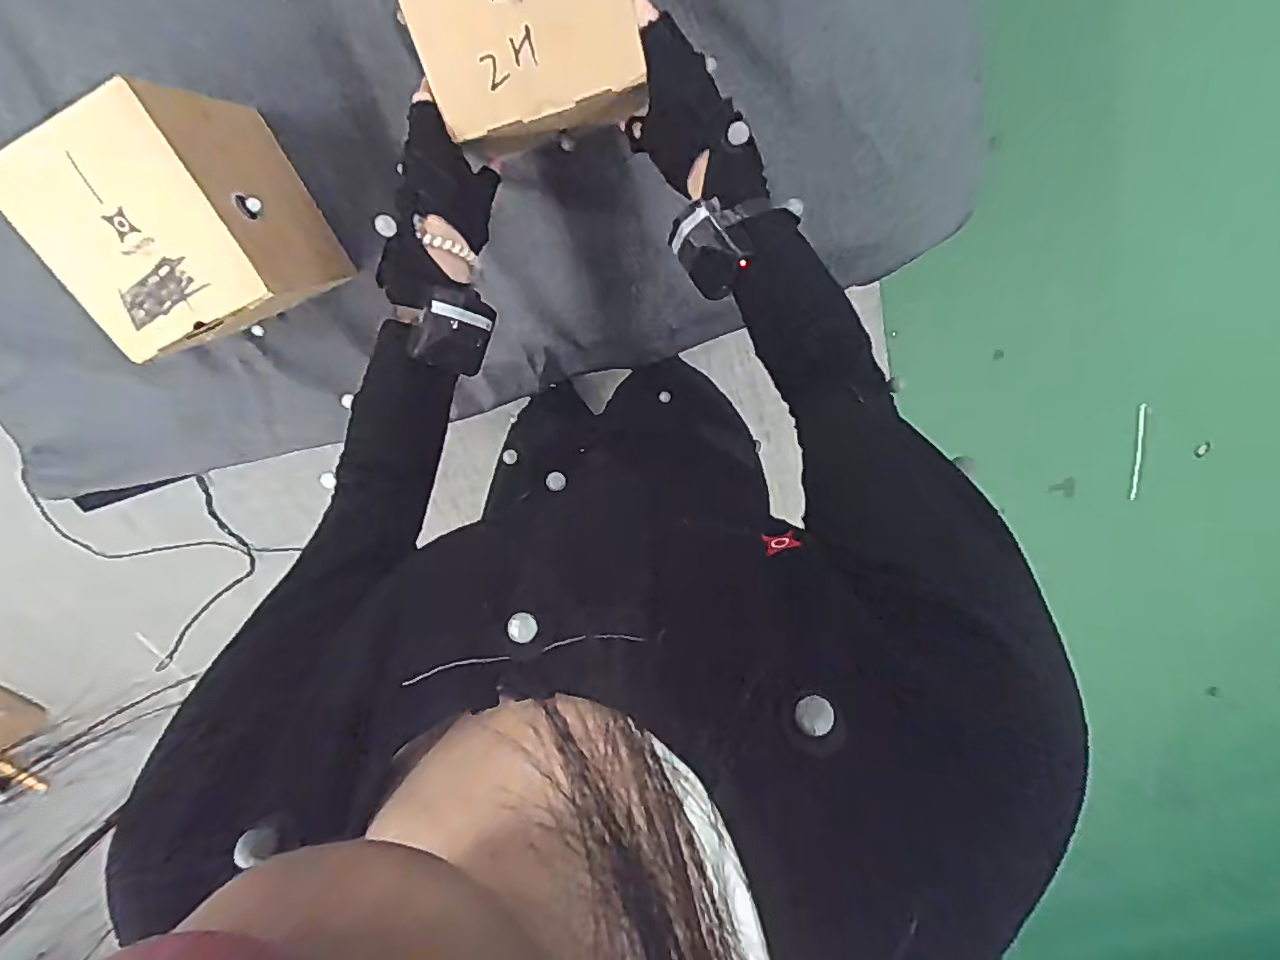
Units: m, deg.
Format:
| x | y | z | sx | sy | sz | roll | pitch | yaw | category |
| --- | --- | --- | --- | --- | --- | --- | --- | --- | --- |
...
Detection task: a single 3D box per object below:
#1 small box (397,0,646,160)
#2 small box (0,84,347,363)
| x | y | z | sx | sy | sz | roll | pitch | yaw | category |
| --- | --- | --- | --- | --- | --- | --- | --- | --- | --- |
| -0.096 | -0.395 | 0.456 | 0.168 | 0.176 | 0.179 | -14 | 116 | 7 | small box |
| -0.435 | -0.243 | 0.533 | 0.168 | 0.176 | 0.179 | -21 | 115 | 10 | small box |
